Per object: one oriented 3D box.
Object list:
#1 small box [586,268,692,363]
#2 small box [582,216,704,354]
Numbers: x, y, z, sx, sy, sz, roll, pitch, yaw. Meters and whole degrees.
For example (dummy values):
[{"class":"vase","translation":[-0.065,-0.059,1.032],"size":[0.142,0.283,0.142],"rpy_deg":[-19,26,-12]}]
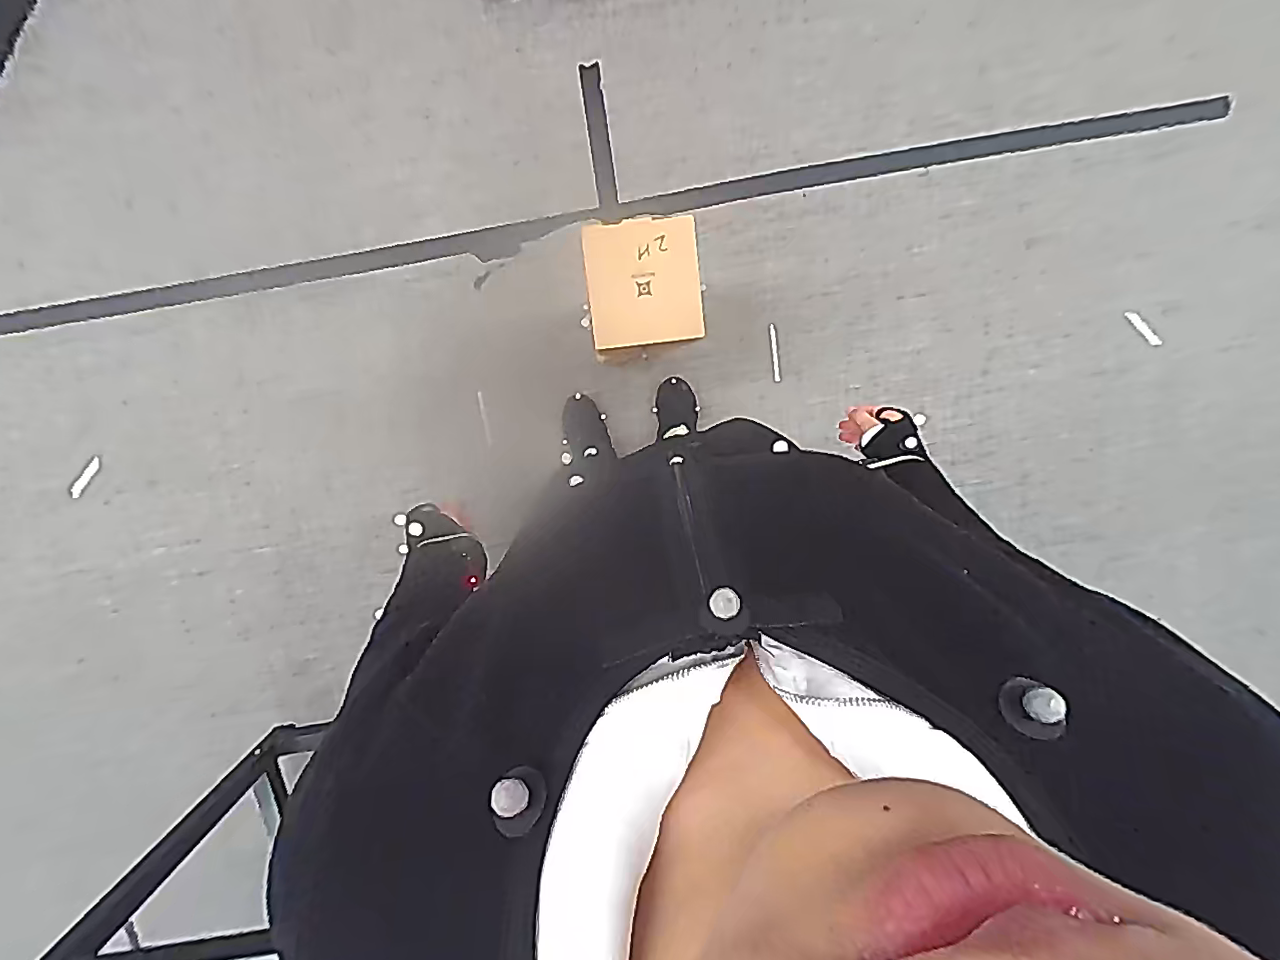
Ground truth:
[{"class":"small box","translation":[-0.005,-0.325,1.027],"size":[0.168,0.176,0.179],"rpy_deg":[-11,101,0]},{"class":"small box","translation":[0.005,-0.299,0.865],"size":[0.168,0.176,0.179],"rpy_deg":[-7,99,-1]}]
